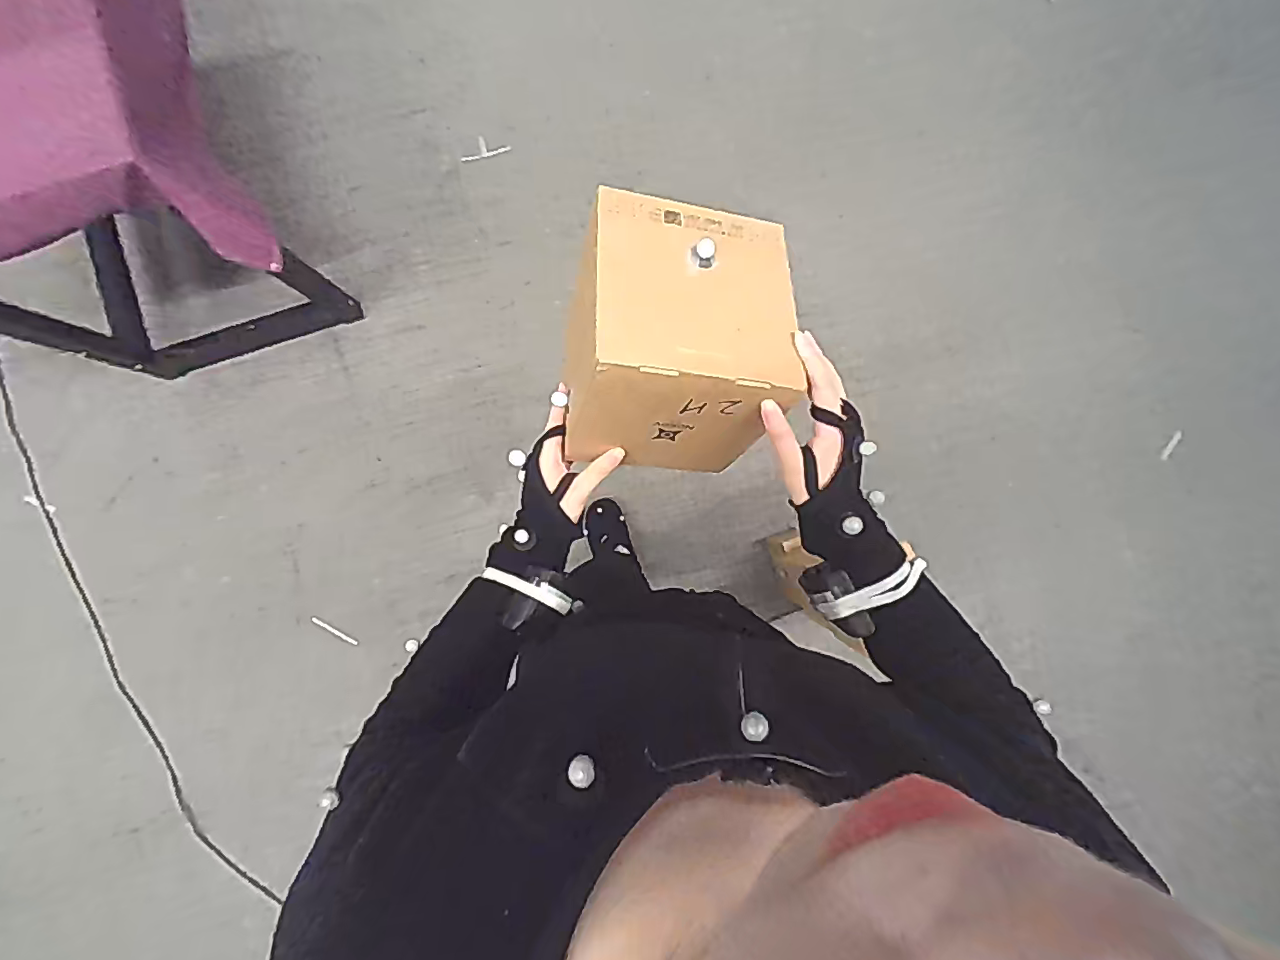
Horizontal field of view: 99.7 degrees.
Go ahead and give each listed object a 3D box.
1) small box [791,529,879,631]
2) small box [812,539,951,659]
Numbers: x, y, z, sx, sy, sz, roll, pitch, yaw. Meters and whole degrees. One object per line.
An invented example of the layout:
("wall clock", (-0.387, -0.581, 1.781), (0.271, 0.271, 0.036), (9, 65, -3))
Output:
("small box", (0.472, 0.225, 1.260), (0.179, 0.176, 0.168), (-27, 88, -2))
("small box", (0.478, 0.231, 1.096), (0.168, 0.176, 0.179), (-24, 87, -1))
